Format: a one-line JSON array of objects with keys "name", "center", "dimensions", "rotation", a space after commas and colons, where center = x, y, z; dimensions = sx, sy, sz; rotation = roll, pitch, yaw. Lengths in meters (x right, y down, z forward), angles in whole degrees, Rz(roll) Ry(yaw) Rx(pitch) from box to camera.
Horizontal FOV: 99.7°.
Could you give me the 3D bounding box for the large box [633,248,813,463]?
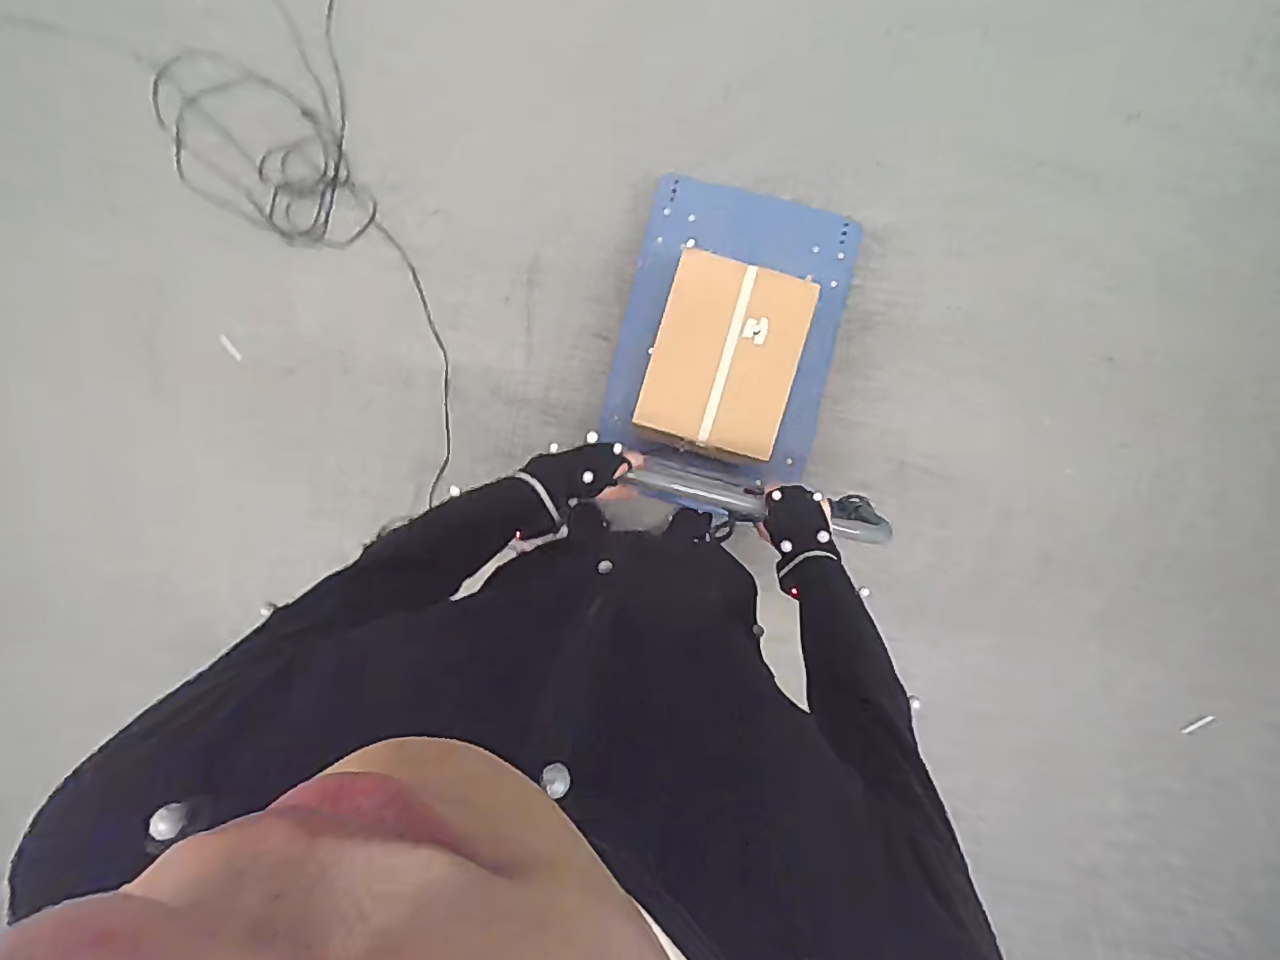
[{"name": "large box", "center": [0.182, -0.275, 1.329], "dimensions": [0.320, 0.320, 0.408], "rotation": [16, 89, -1]}]
